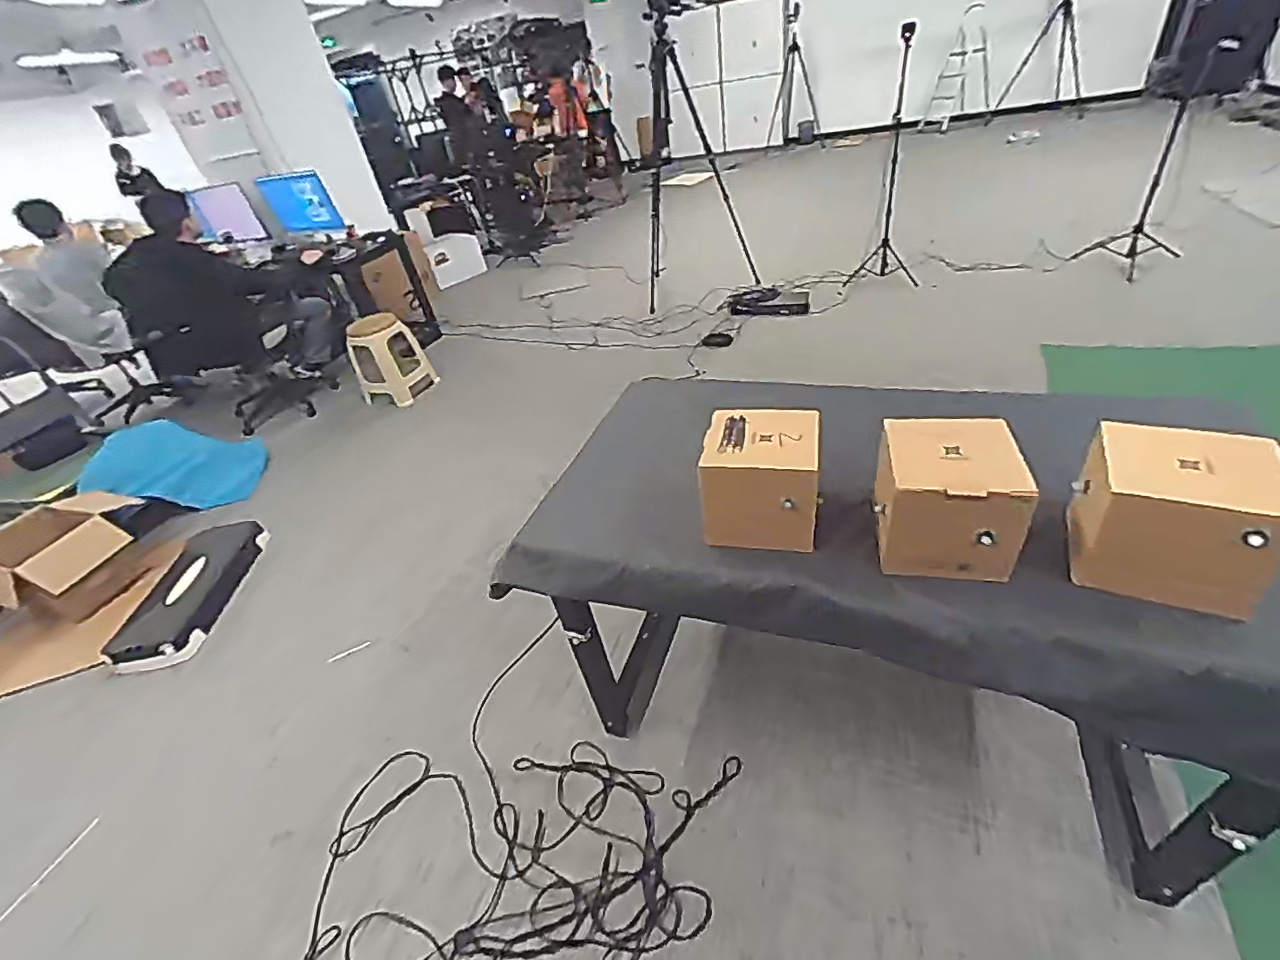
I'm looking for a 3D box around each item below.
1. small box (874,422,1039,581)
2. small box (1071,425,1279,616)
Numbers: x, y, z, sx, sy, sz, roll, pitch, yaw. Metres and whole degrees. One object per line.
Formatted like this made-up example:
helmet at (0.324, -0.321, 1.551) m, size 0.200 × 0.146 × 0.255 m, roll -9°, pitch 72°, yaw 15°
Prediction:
small box at (0.450, 0.029, 0.800) m, size 0.168 × 0.176 × 0.179 m, roll 2°, pitch 38°, yaw 16°
small box at (0.692, 0.050, 0.708) m, size 0.179 × 0.176 × 0.168 m, roll 12°, pitch 42°, yaw 28°
